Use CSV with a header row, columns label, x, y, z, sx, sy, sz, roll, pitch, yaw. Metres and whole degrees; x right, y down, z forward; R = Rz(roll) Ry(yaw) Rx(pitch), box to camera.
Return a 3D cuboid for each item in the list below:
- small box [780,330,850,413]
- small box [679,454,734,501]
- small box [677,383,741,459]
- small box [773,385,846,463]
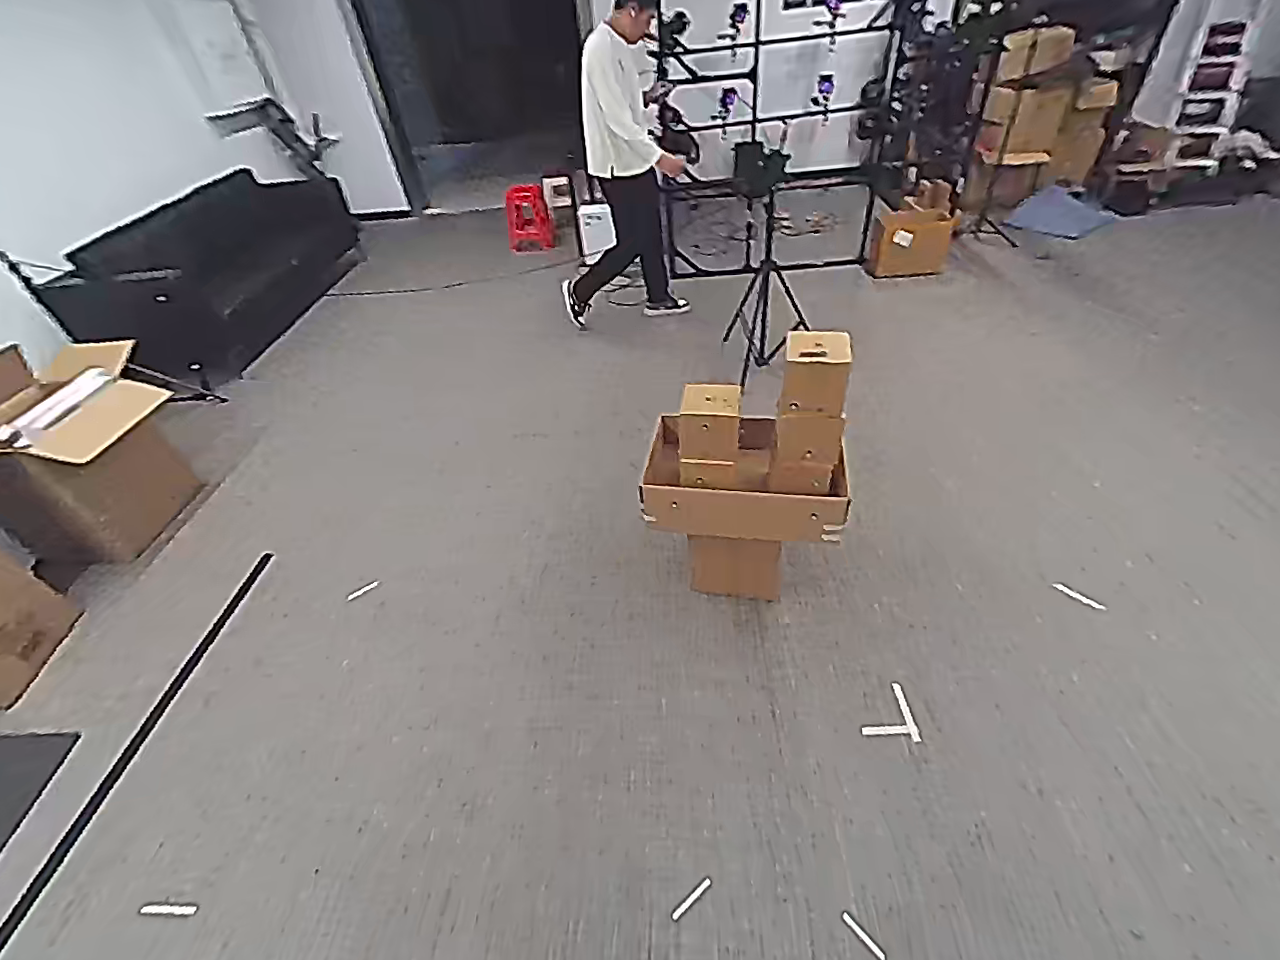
label,x,y,z,sx,sy,sz,roll,pitch,yaw
small box,0.478,-0.298,1.493,0.168,0.176,0.179,5,42,12
small box,0.219,-0.050,1.749,0.168,0.176,0.179,3,42,9
small box,0.211,-0.178,1.646,0.179,0.176,0.168,4,42,11
small box,0.491,-0.165,1.590,0.179,0.176,0.168,2,42,9
